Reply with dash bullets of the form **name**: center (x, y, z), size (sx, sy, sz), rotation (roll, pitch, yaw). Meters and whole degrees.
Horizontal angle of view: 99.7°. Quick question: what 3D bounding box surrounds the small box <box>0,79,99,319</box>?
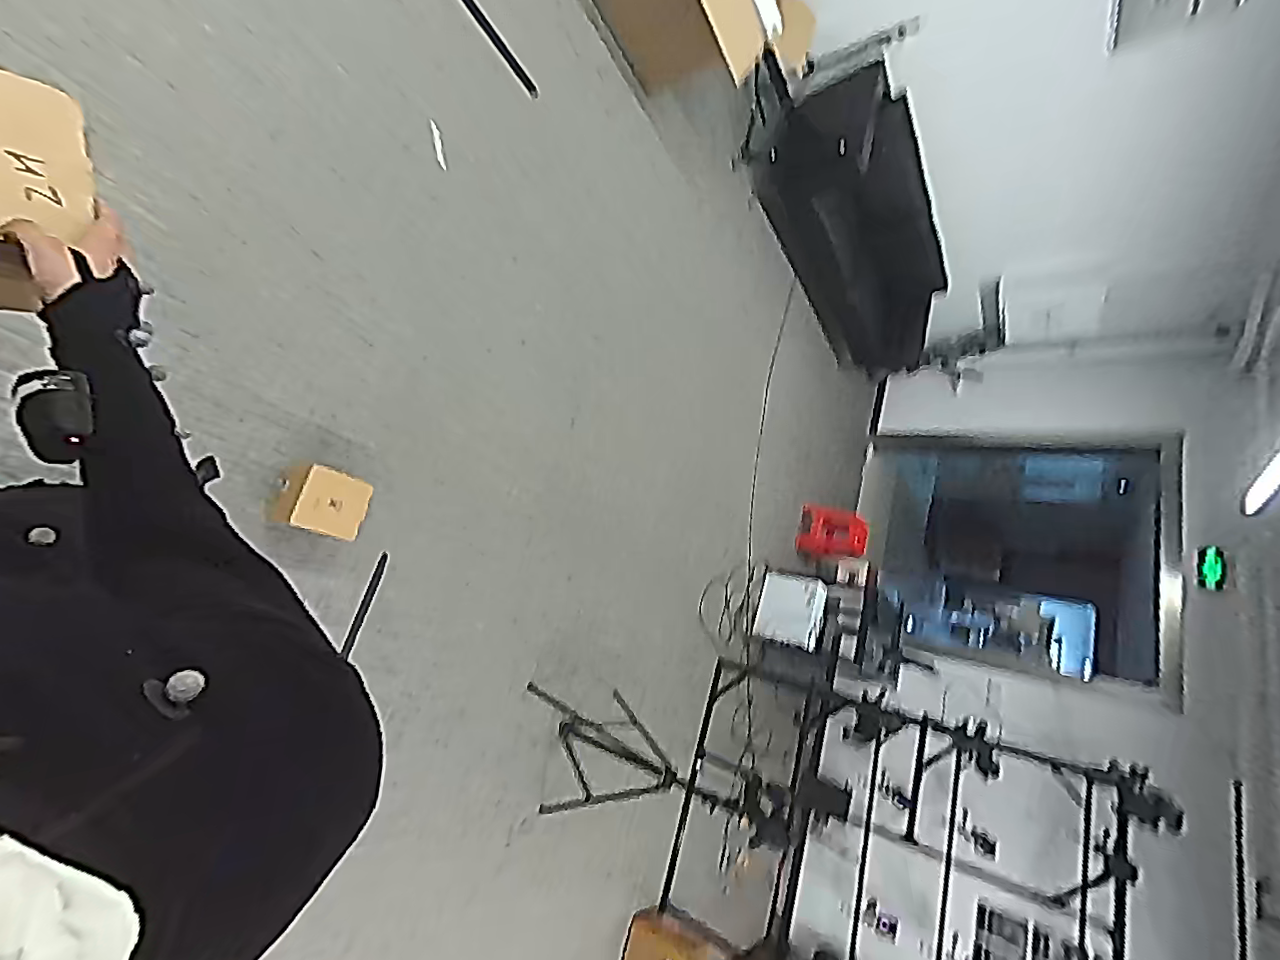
- **small box**: center (-0.646, -0.265, 0.505), size (0.179, 0.176, 0.168), rotation (-7, 86, -52)

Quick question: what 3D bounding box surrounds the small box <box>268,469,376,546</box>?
- **small box**: center (-0.876, 0.071, 1.491), size (0.179, 0.176, 0.168), rotation (33, 67, -49)
